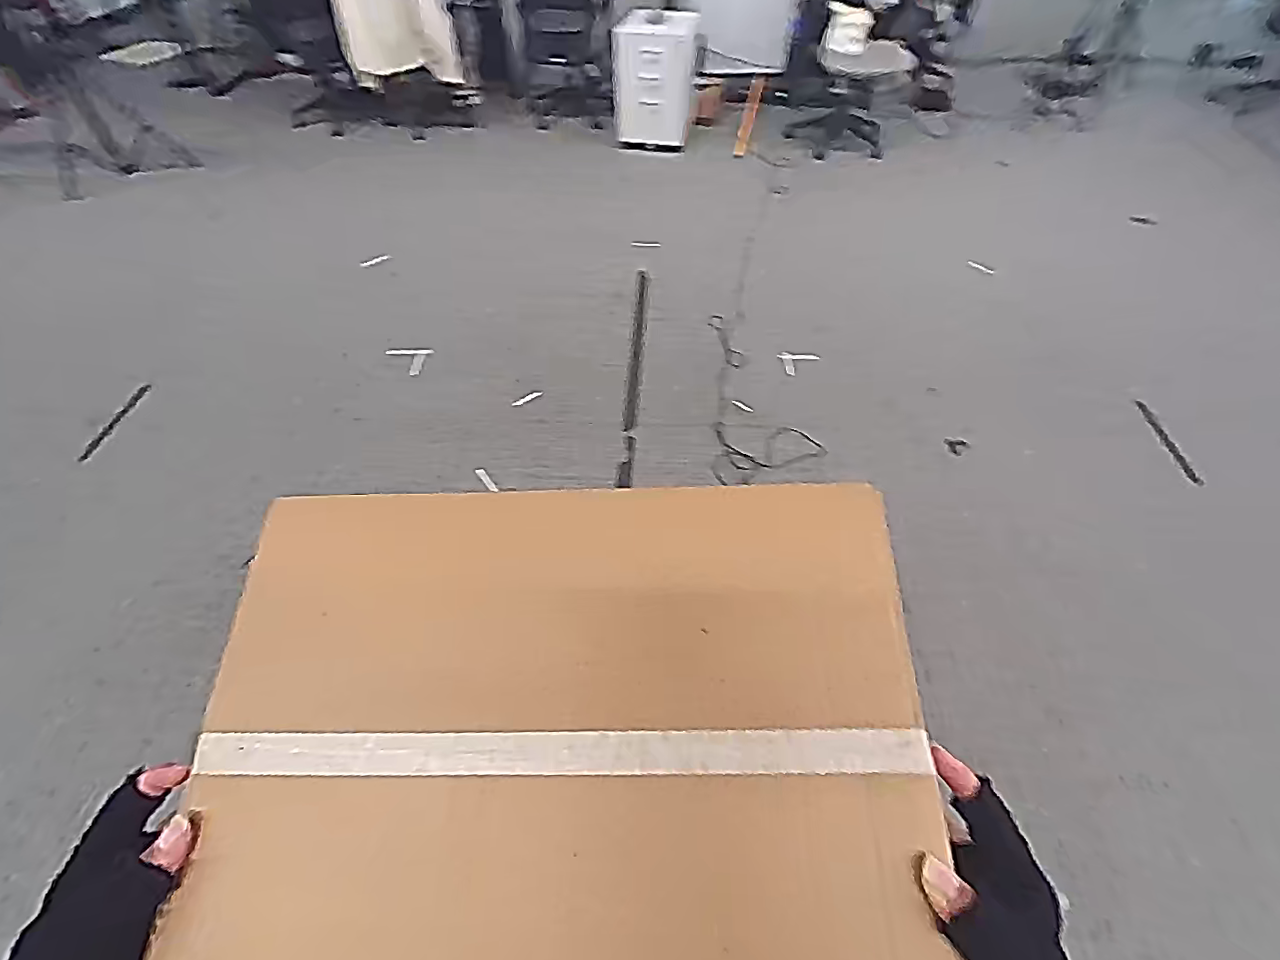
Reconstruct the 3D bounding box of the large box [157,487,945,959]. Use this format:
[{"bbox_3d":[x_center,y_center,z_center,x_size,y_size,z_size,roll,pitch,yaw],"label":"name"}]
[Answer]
[{"bbox_3d":[-0.041,0.212,0.444,0.408,0.320,0.320,-2,65,3],"label":"large box"}]
